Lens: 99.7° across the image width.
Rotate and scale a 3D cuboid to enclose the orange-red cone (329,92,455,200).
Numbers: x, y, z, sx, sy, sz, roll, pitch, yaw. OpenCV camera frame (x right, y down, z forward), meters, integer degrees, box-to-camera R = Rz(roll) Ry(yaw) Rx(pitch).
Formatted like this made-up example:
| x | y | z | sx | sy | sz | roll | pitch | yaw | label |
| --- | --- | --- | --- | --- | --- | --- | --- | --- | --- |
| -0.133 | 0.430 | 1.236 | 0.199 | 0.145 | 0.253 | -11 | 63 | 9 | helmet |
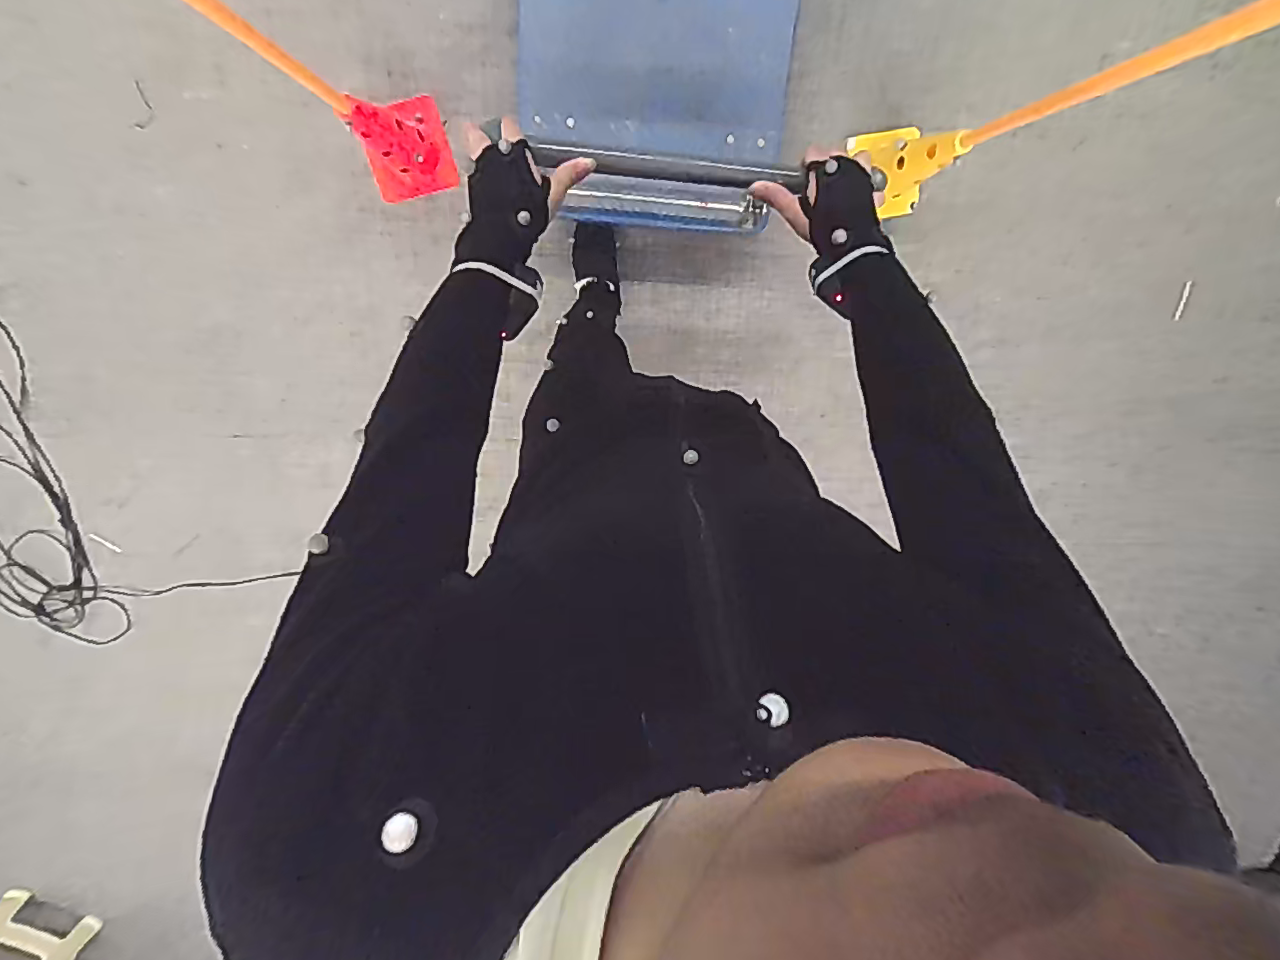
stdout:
| x | y | z | sx | sy | sz | roll | pitch | yaw | label |
| --- | --- | --- | --- | --- | --- | --- | --- | --- | --- |
| -0.554 | -0.739 | 1.142 | 0.199 | 0.360 | 0.198 | -12 | 110 | 2 | orange-red cone |
